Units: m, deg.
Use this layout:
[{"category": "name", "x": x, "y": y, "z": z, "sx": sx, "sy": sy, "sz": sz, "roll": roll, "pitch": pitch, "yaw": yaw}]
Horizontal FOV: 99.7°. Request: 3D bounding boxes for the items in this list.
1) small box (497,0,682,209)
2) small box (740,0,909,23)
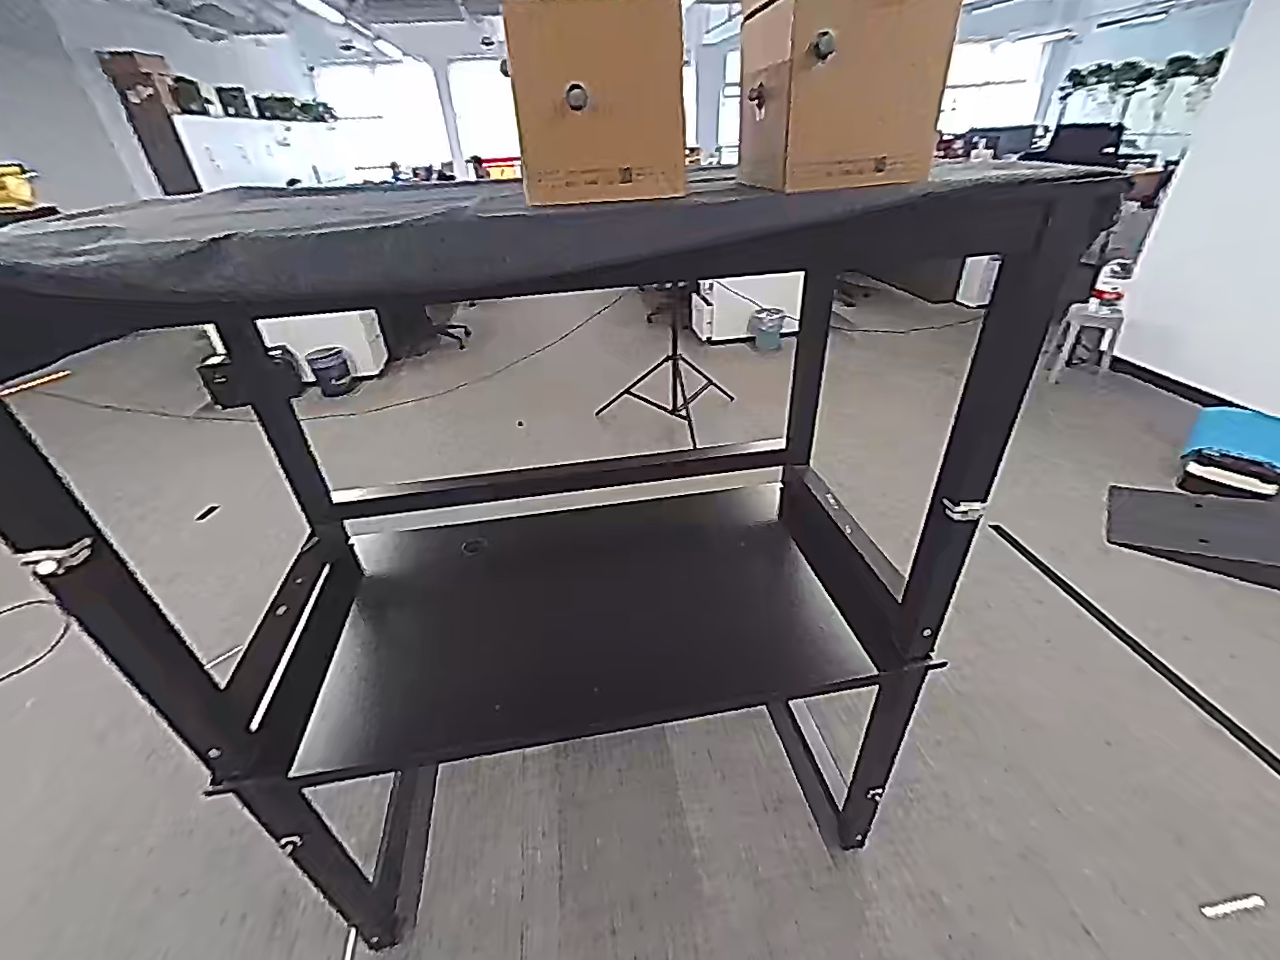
[{"category": "small box", "x": -0.049, "y": -0.396, "z": 0.590, "sx": 0.168, "sy": 0.176, "sz": 0.179, "roll": -6, "pitch": 31, "yaw": -4}, {"category": "small box", "x": 0.201, "y": -0.557, "z": 0.511, "sx": 0.179, "sy": 0.176, "sz": 0.168, "roll": -8, "pitch": 30, "yaw": -5}]
